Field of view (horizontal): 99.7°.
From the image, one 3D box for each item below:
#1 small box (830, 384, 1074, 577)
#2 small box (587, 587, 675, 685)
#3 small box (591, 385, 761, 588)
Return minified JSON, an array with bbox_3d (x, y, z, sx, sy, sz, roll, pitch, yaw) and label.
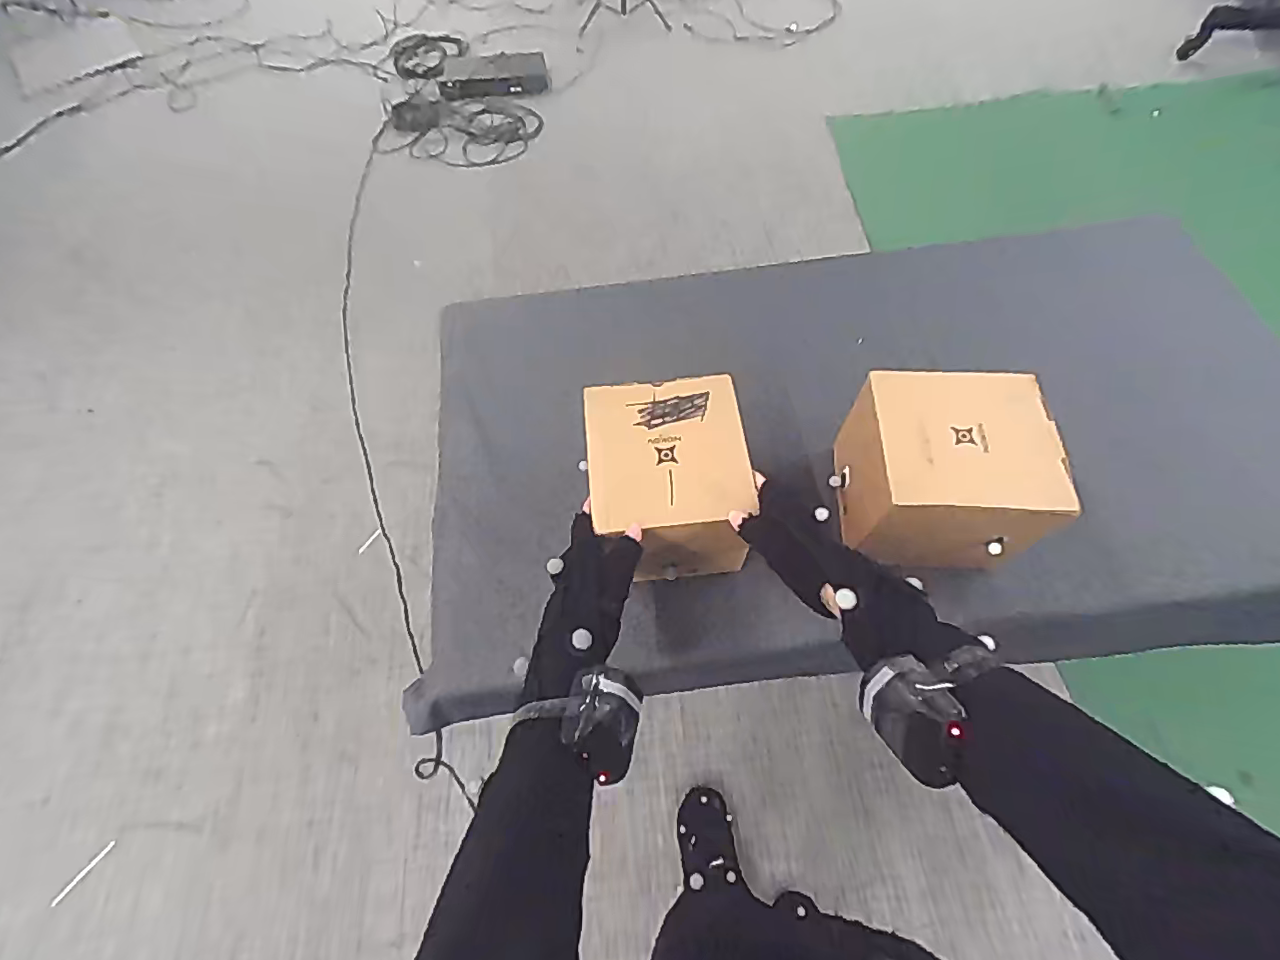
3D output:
[{"bbox_3d":[0.337,0.008,0.626,0.179,0.176,0.168,2,61,4],"label":"small box"},{"bbox_3d":[-0.019,0.374,1.273,0.168,0.176,0.179,-15,64,-5],"label":"small box"},{"bbox_3d":[0.033,0.014,0.633,0.168,0.176,0.179,-5,63,0],"label":"small box"}]
